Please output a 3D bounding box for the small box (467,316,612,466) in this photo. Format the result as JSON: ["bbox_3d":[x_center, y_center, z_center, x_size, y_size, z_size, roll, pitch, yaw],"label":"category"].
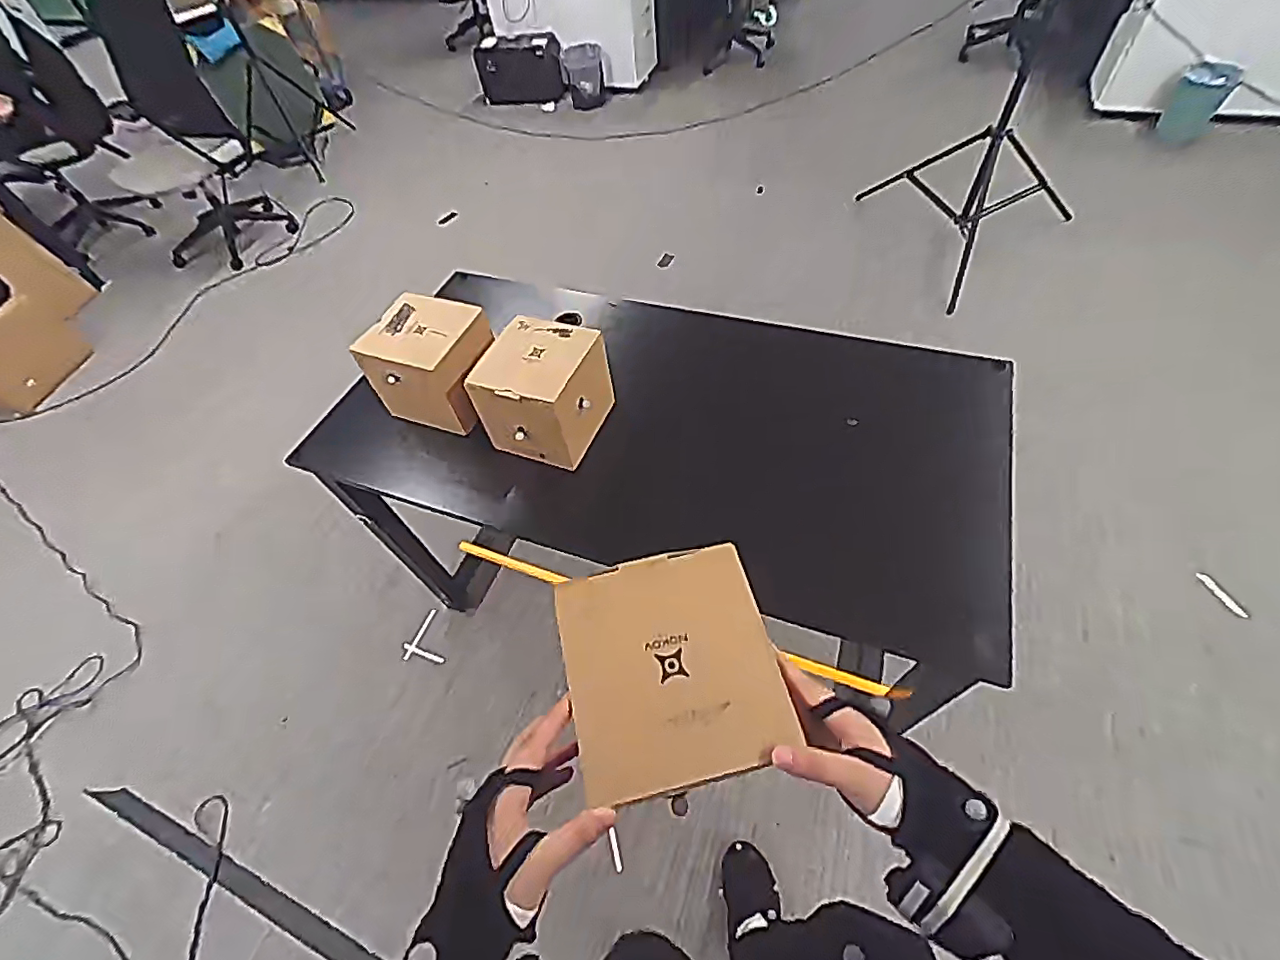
[{"bbox_3d":[-0.159,-0.149,0.933,0.168,0.176,0.179,16,59,17],"label":"small box"}]

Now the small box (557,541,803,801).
[{"bbox_3d":[0.025,0.183,0.506,0.168,0.176,0.179,-13,60,-7],"label":"small box"}]

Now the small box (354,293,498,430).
[{"bbox_3d":[-0.372,-0.215,1.000,0.179,0.176,0.168,16,58,16],"label":"small box"}]
